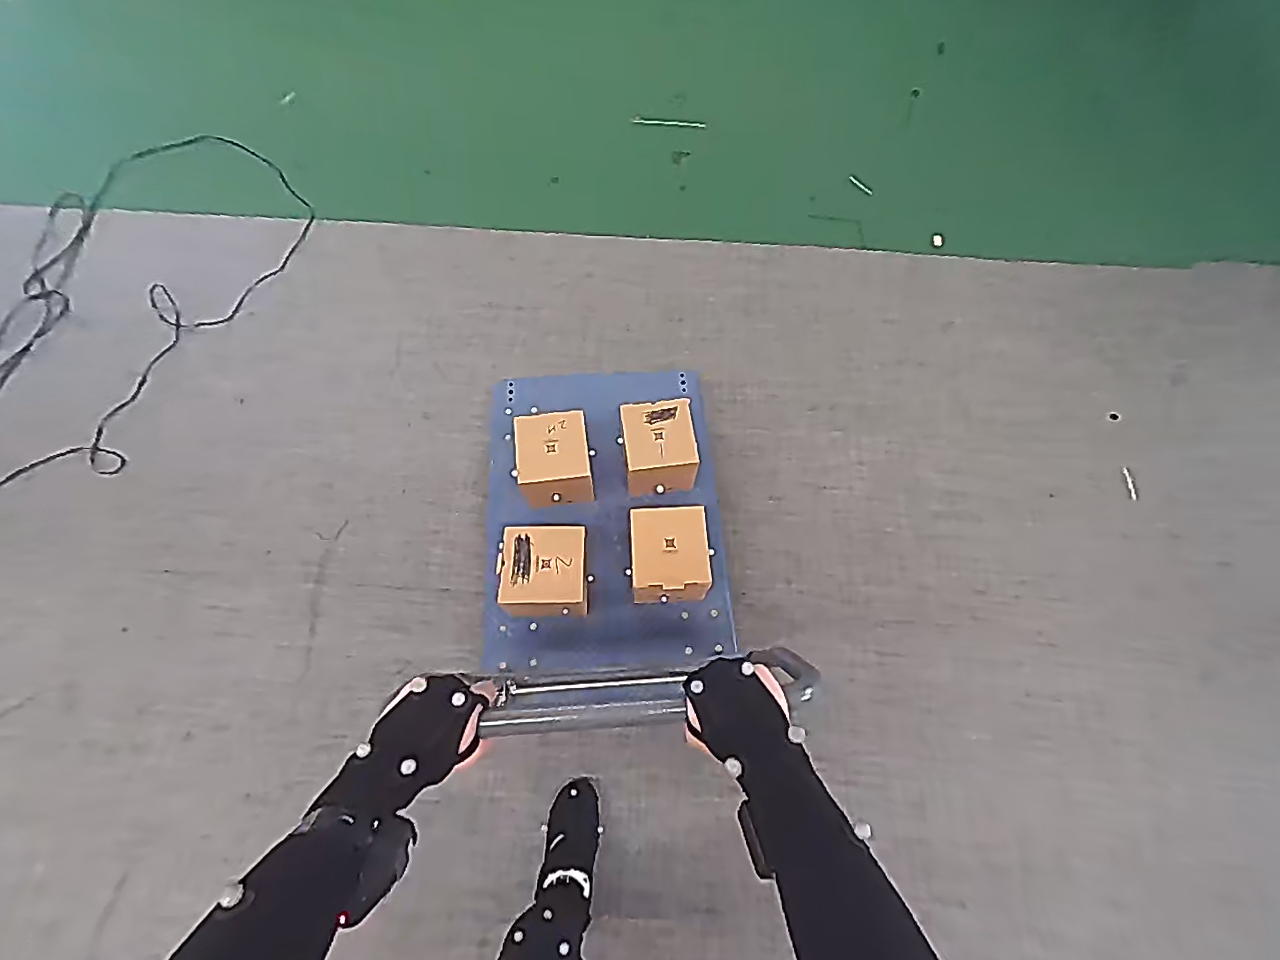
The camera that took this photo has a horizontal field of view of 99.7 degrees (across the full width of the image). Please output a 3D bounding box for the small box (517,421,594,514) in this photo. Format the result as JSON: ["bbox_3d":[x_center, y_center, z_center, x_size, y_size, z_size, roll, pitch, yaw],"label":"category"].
[{"bbox_3d":[-0.206,-0.024,1.340,0.168,0.176,0.179,-6,66,-5],"label":"small box"}]

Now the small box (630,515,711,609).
[{"bbox_3d":[0.063,0.192,1.249,0.168,0.176,0.179,-3,66,-2],"label":"small box"}]

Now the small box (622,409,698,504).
[{"bbox_3d":[0.043,-0.056,1.357,0.168,0.176,0.179,-7,67,-3],"label":"small box"}]
